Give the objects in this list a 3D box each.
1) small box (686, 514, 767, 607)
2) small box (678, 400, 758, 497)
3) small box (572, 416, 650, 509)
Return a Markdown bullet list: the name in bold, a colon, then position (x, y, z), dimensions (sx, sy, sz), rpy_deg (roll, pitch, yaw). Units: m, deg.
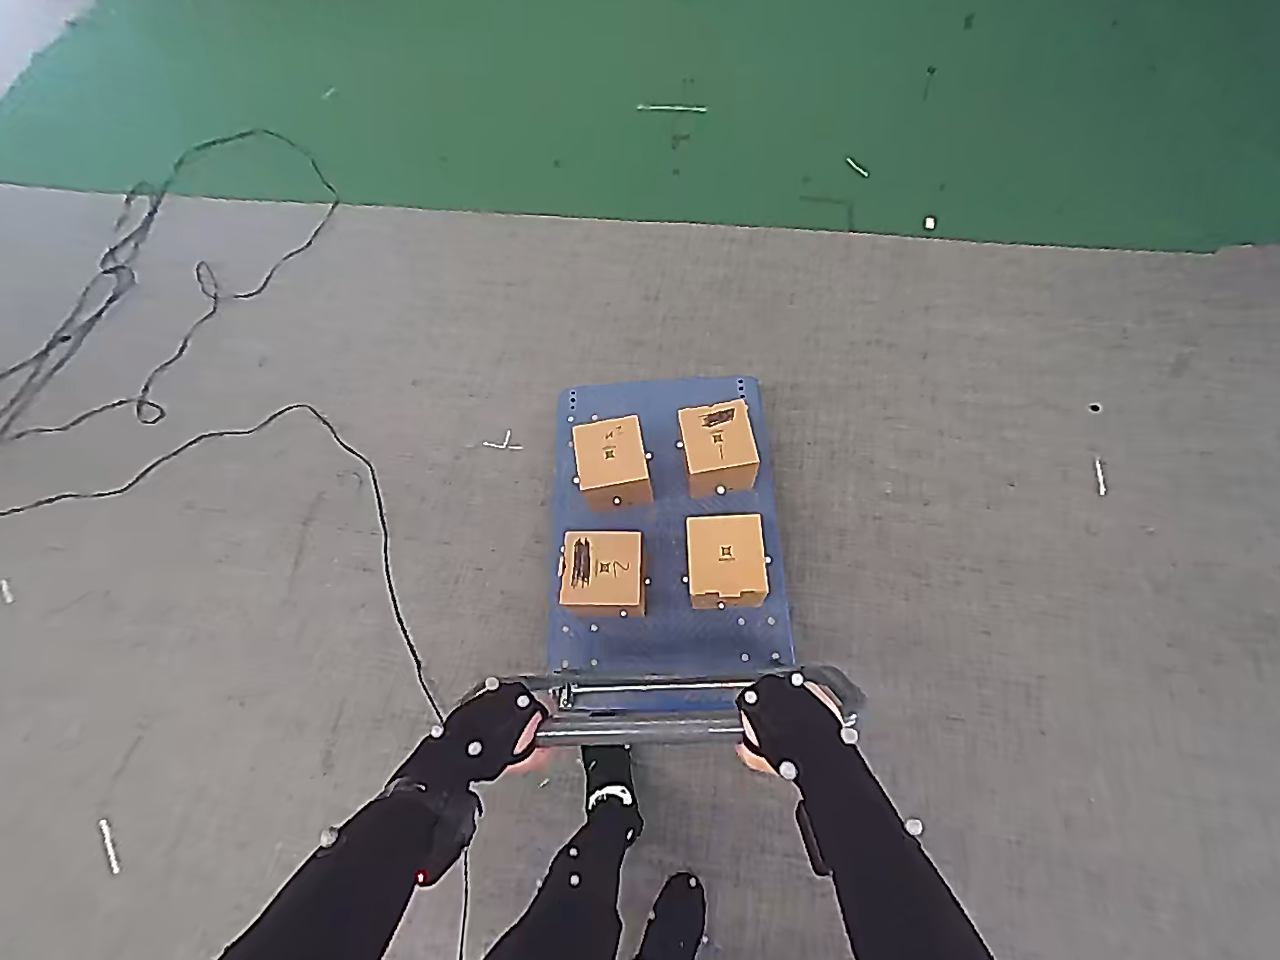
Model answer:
- **small box**: position (0.193, 0.190, 1.252), dimensions (0.168, 0.176, 0.179), rpy_deg (-3, 68, 4)
- **small box**: position (0.189, -0.074, 1.363), dimensions (0.168, 0.176, 0.179), rpy_deg (-10, 67, 1)
- **small box**: position (-0.069, -0.036, 1.368), dimensions (0.168, 0.176, 0.179), rpy_deg (-10, 67, 0)
